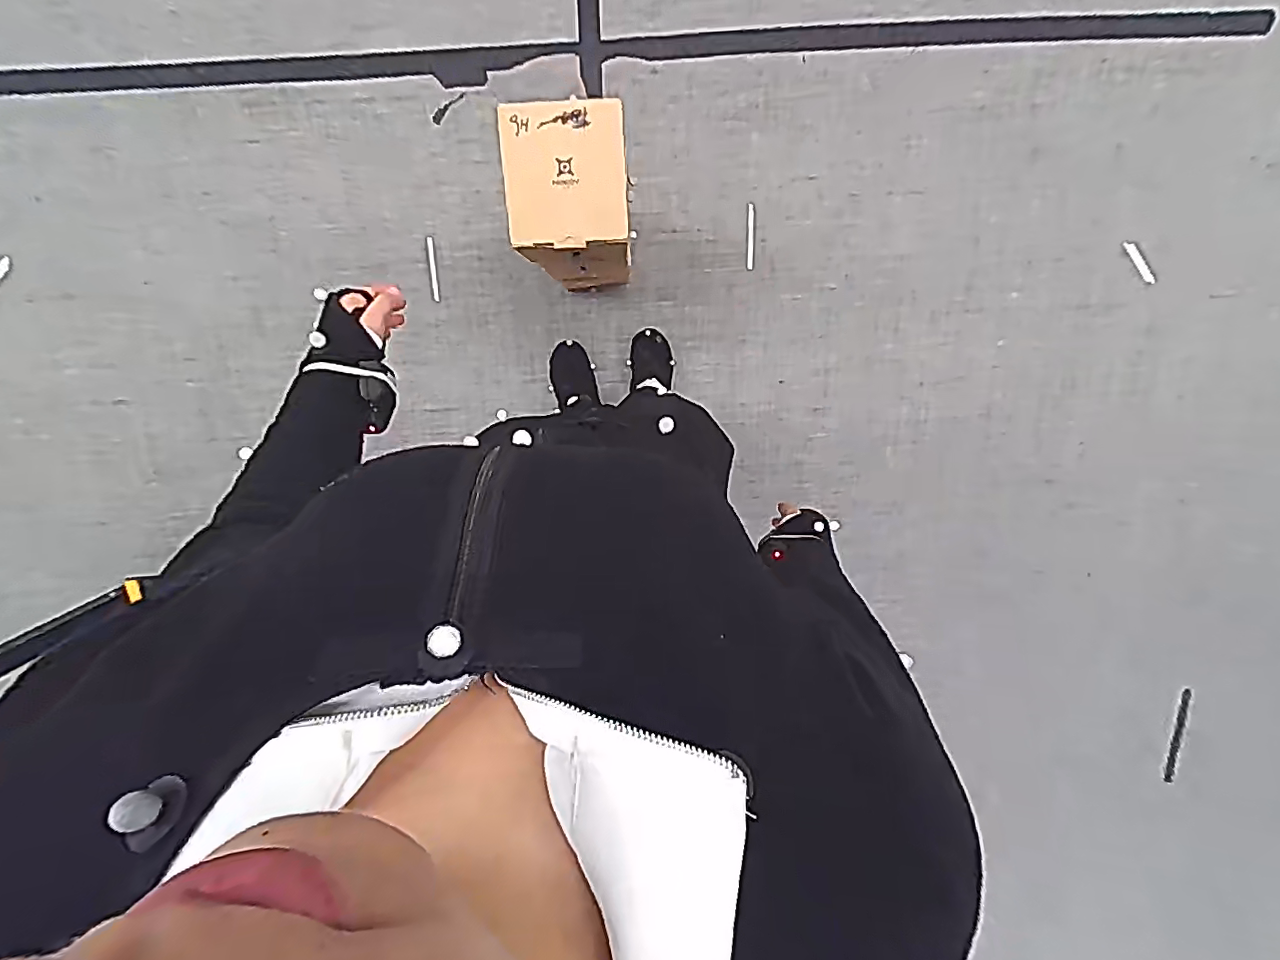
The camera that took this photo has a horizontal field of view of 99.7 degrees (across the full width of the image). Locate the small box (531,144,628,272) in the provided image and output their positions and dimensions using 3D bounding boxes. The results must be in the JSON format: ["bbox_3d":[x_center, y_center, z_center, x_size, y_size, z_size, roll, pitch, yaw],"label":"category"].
[{"bbox_3d":[-0.106,-0.471,0.954,0.168,0.176,0.179,0,105,-1],"label":"small box"}]

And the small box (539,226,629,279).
[{"bbox_3d":[-0.113,-0.512,1.114,0.179,0.176,0.168,-3,105,-1],"label":"small box"}]

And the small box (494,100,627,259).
[{"bbox_3d":[-0.105,-0.426,0.797,0.168,0.176,0.179,-2,106,0],"label":"small box"}]

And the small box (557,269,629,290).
[{"bbox_3d":[-0.118,-0.553,1.273,0.168,0.176,0.179,-7,106,1],"label":"small box"}]
